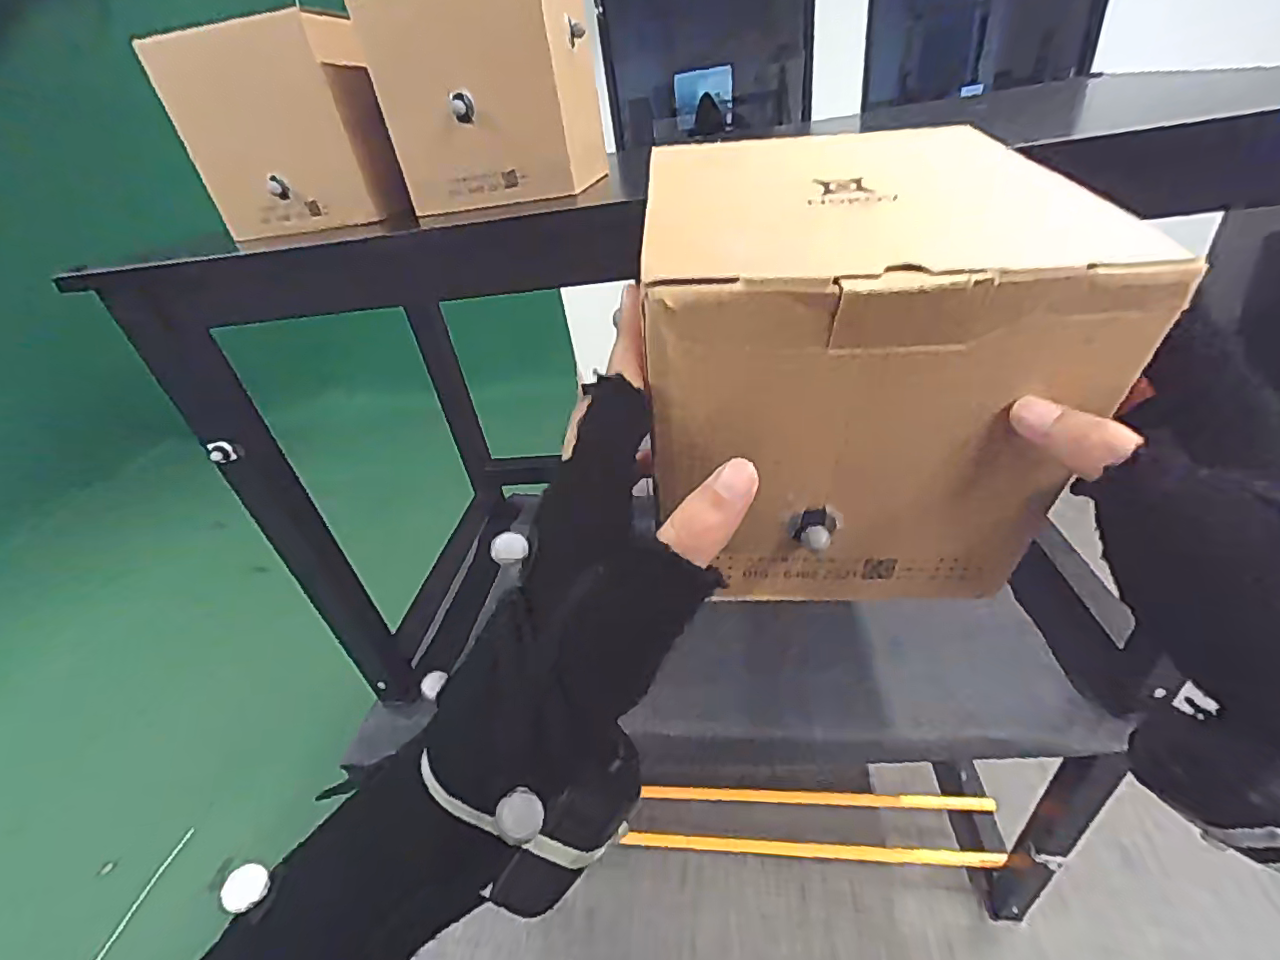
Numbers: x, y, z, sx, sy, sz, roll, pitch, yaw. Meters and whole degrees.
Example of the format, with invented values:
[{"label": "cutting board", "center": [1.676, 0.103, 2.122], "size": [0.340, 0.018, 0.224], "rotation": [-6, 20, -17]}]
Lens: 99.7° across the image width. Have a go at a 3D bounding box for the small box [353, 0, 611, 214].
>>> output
[{"label": "small box", "center": [-0.131, -0.370, 0.532], "size": [0.168, 0.176, 0.179], "rotation": [-2, 34, 10]}]
